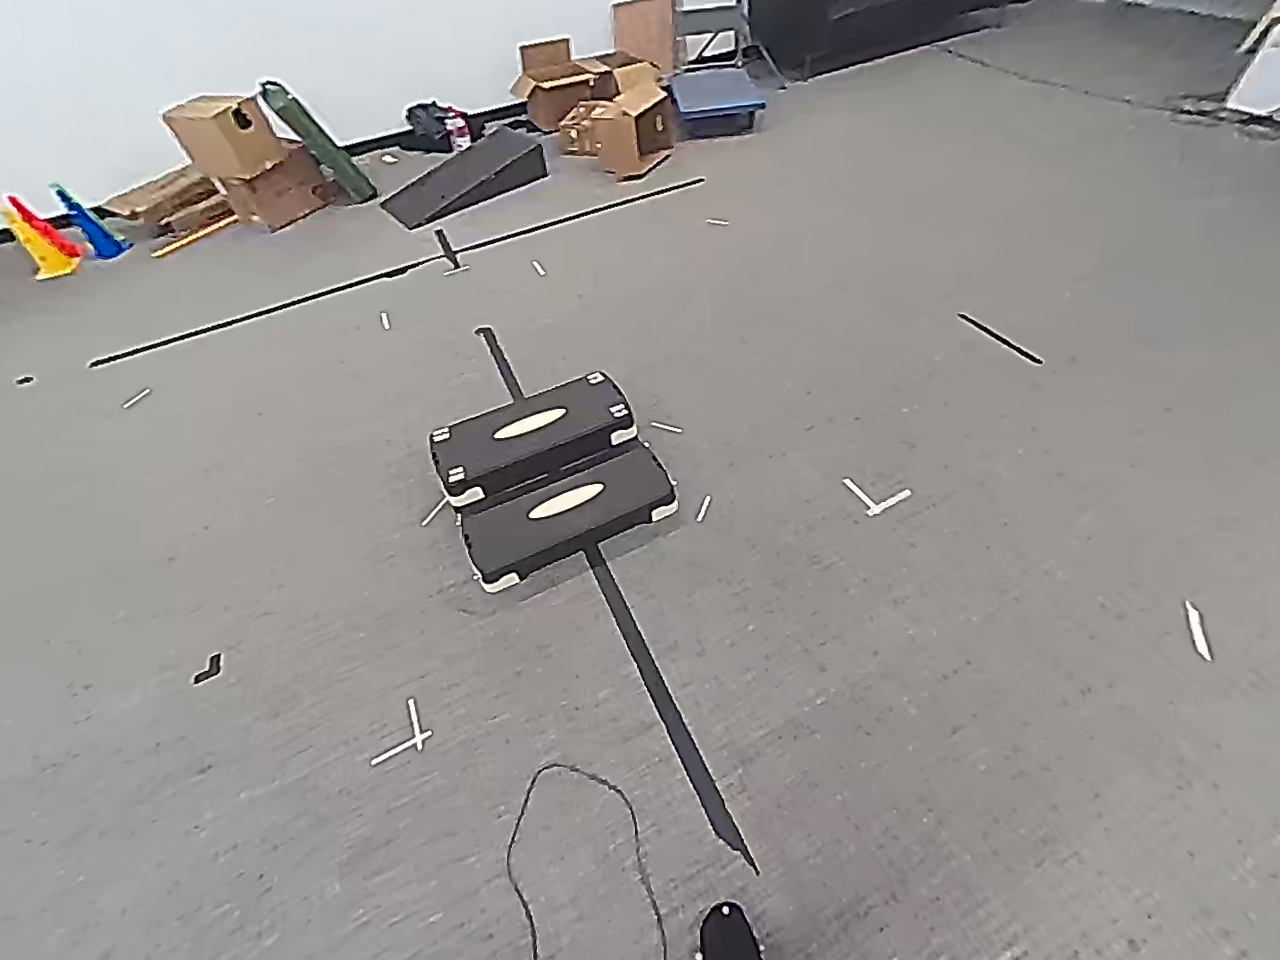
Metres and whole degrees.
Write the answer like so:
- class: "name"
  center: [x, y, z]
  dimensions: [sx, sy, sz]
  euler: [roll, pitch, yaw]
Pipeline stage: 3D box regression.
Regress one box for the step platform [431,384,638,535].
- class: "step platform"
  center: [-0.357, -0.084, 1.862]
  dimensions: [0.684, 0.204, 0.286]
  euler: [-23, 52, -14]
